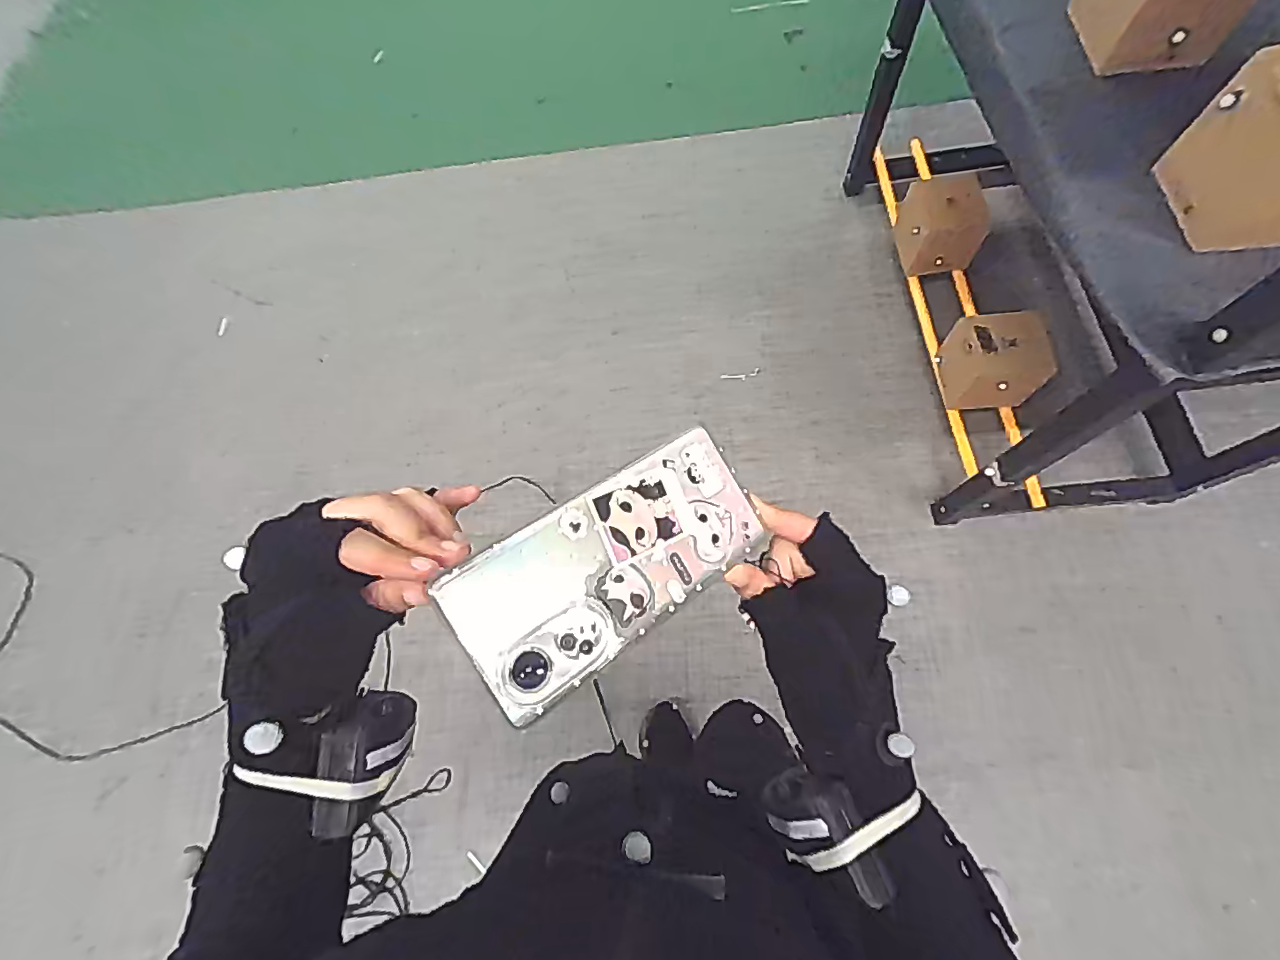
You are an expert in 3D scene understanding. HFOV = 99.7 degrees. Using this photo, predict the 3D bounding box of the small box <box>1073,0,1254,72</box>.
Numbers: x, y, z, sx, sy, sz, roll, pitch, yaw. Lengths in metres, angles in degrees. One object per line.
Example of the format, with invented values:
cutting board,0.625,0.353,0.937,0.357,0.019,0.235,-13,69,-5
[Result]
small box,0.819,-0.775,0.830,0.168,0.176,0.179,-3,69,5

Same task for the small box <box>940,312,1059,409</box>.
small box,0.854,-0.283,1.310,0.179,0.176,0.168,-3,69,5
